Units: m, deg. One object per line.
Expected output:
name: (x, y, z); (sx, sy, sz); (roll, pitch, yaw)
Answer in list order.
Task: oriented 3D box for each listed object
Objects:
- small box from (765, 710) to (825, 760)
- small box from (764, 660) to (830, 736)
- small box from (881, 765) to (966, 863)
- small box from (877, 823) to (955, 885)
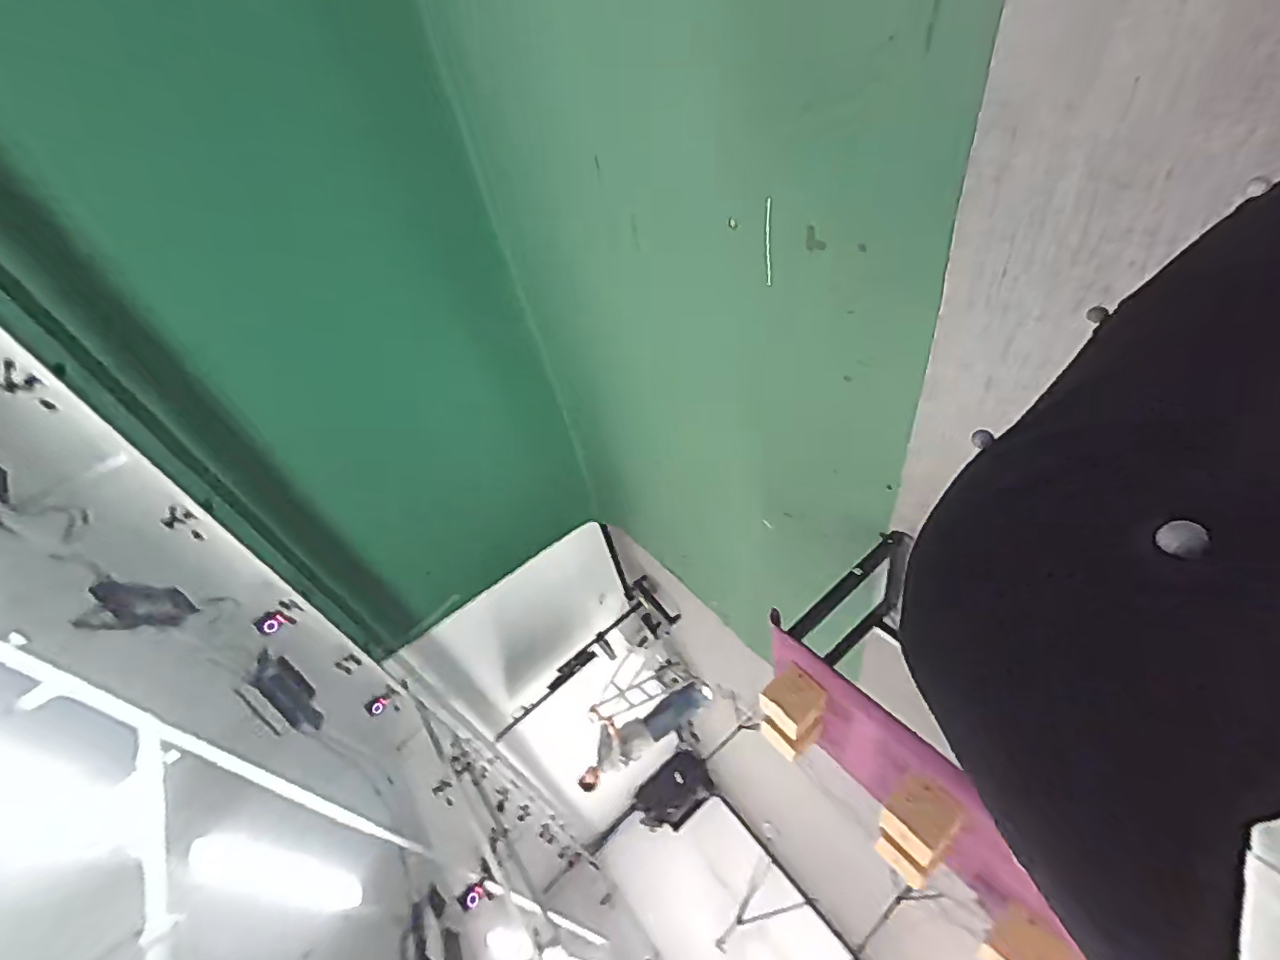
small box: (0.623, 0.982, 2.177); (0.168, 0.176, 0.179); (39, 154, 36)
small box: (0.574, 0.793, 1.981); (0.168, 0.176, 0.179); (40, 157, 36)
small box: (0.872, 1.022, 1.665); (0.168, 0.176, 0.179); (37, 155, 44)
small box: (0.939, 1.227, 1.844); (0.168, 0.176, 0.179); (38, 153, 42)
